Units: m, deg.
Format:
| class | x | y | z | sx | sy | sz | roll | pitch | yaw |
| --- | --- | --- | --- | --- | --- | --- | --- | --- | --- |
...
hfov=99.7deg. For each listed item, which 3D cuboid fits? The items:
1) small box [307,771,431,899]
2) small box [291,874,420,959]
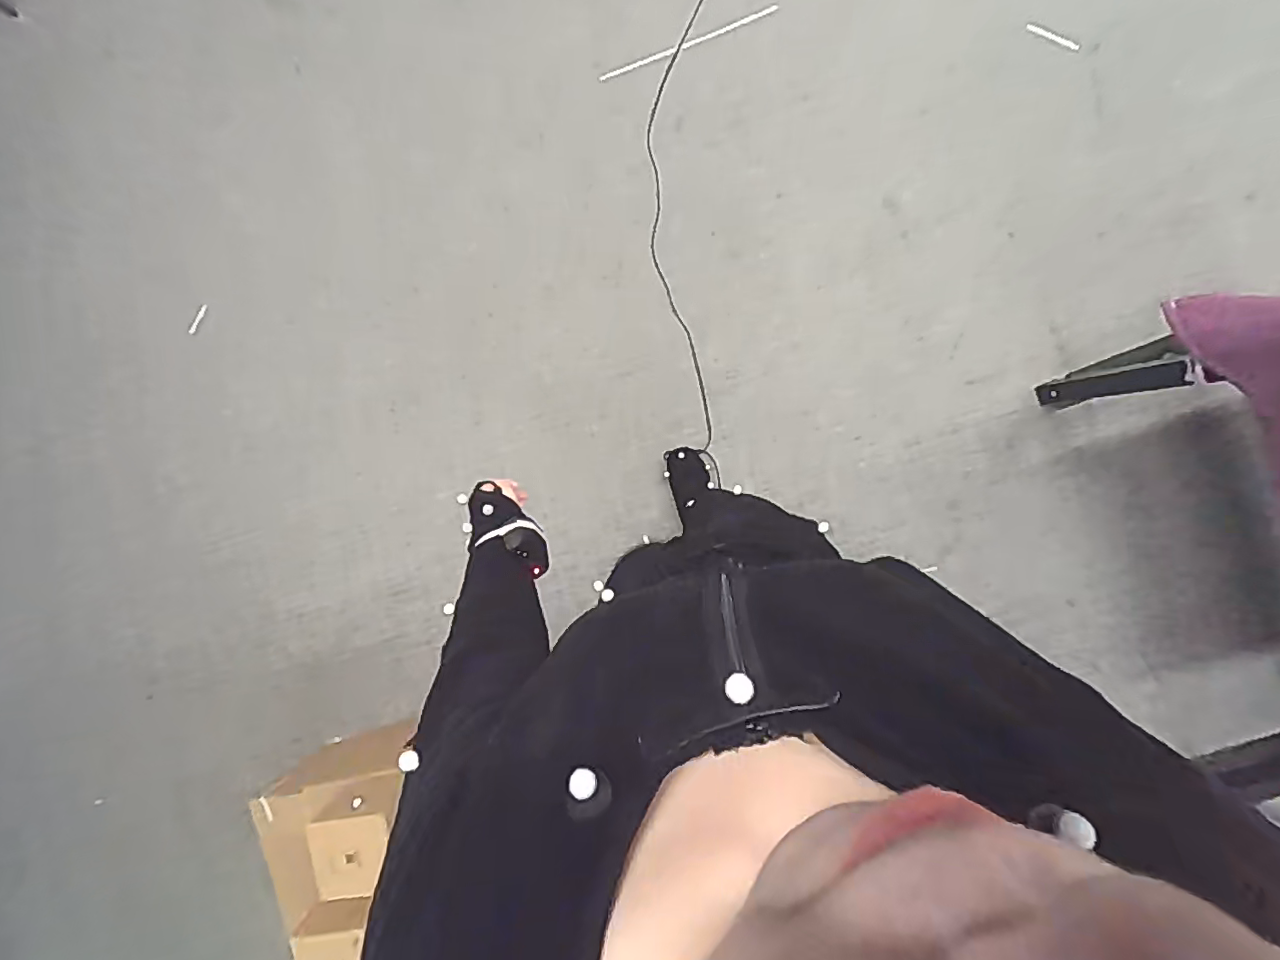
| class | x | y | z | sx | sy | sz | roll | pitch | yaw |
| --- | --- | --- | --- | --- | --- | --- | --- | --- | --- |
| small box | -0.582 | 0.769 | 1.189 | 0.179 | 0.176 | 0.168 | -11 | 91 | 6 |
| small box | -0.628 | 1.013 | 1.209 | 0.179 | 0.176 | 0.168 | -11 | 94 | 7 |
